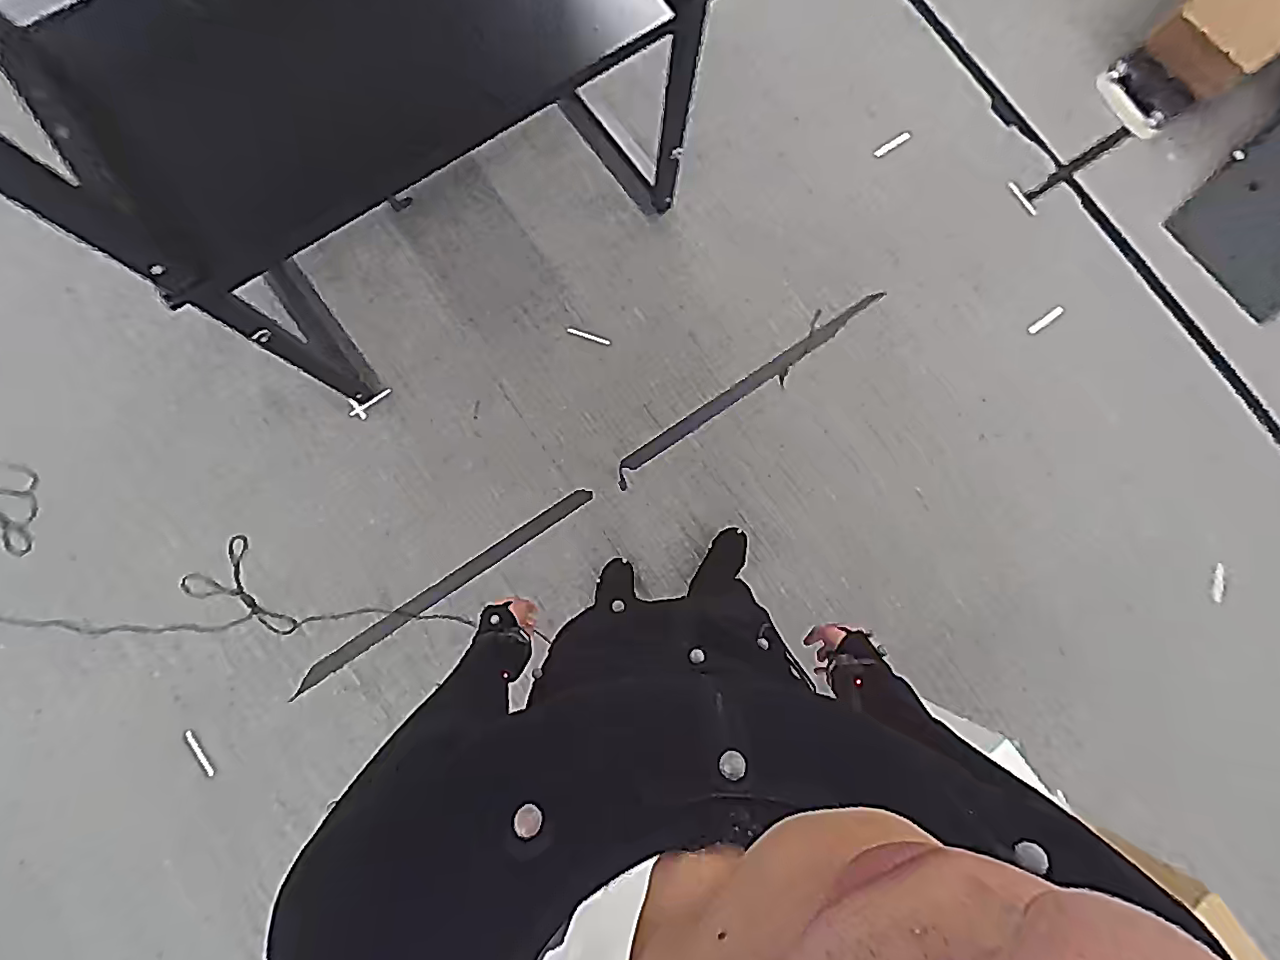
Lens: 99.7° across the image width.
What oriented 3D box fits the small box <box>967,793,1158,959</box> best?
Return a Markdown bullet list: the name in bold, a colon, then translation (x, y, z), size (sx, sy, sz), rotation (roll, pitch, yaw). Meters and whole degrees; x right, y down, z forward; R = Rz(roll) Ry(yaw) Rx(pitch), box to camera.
- **small box**: translation (0.740, 0.702, 0.970), size (0.168, 0.176, 0.179), rotation (-35, 87, -7)
